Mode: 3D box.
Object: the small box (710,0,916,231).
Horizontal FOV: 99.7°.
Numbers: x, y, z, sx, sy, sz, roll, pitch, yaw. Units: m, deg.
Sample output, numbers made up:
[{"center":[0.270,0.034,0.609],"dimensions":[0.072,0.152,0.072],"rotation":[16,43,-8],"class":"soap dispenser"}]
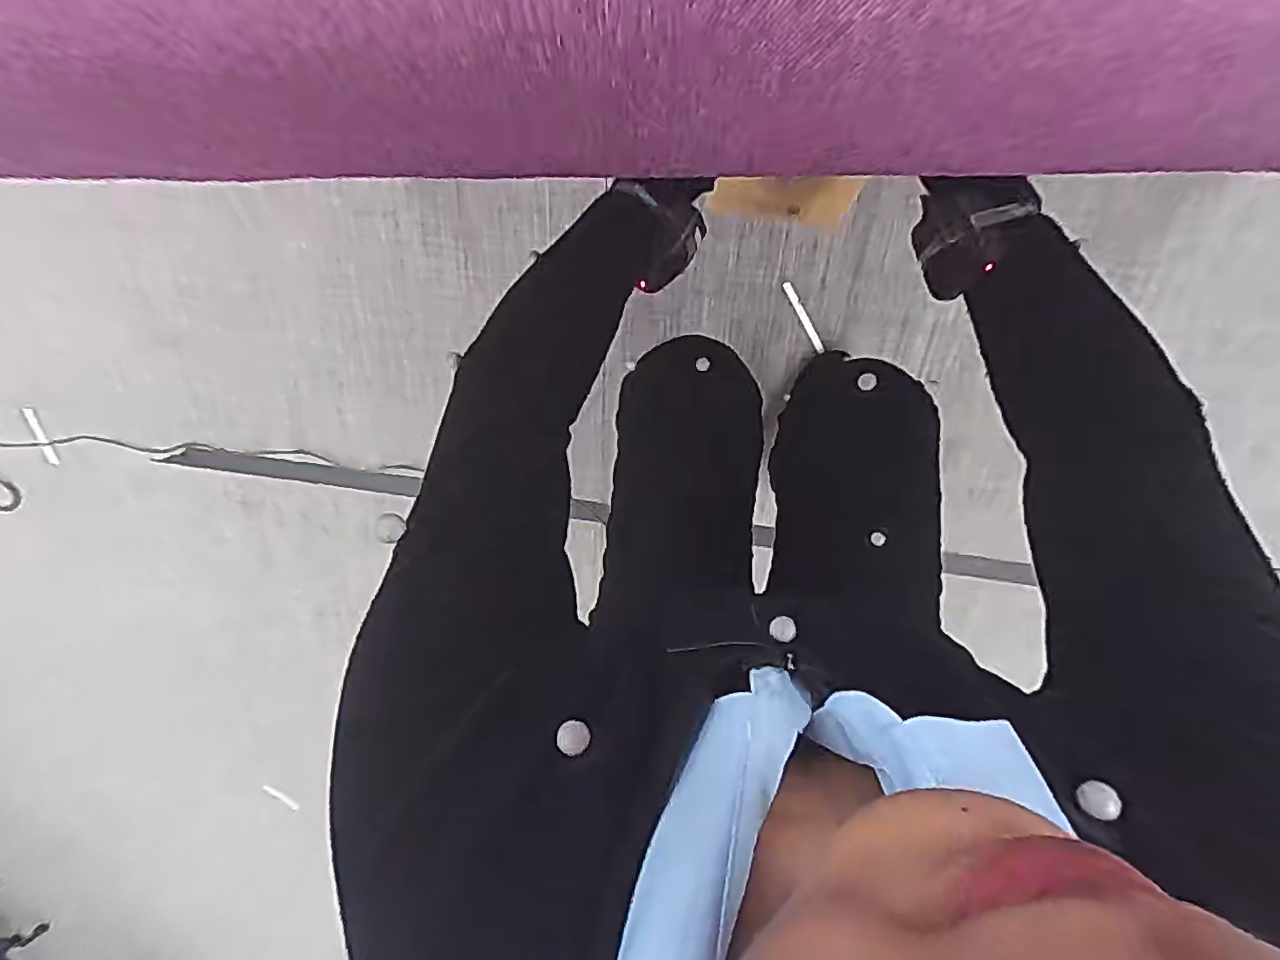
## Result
[{"center":[0.177,-0.410,0.596],"dimensions":[0.168,0.176,0.179],"rotation":[10,76,0],"class":"small box"}]
